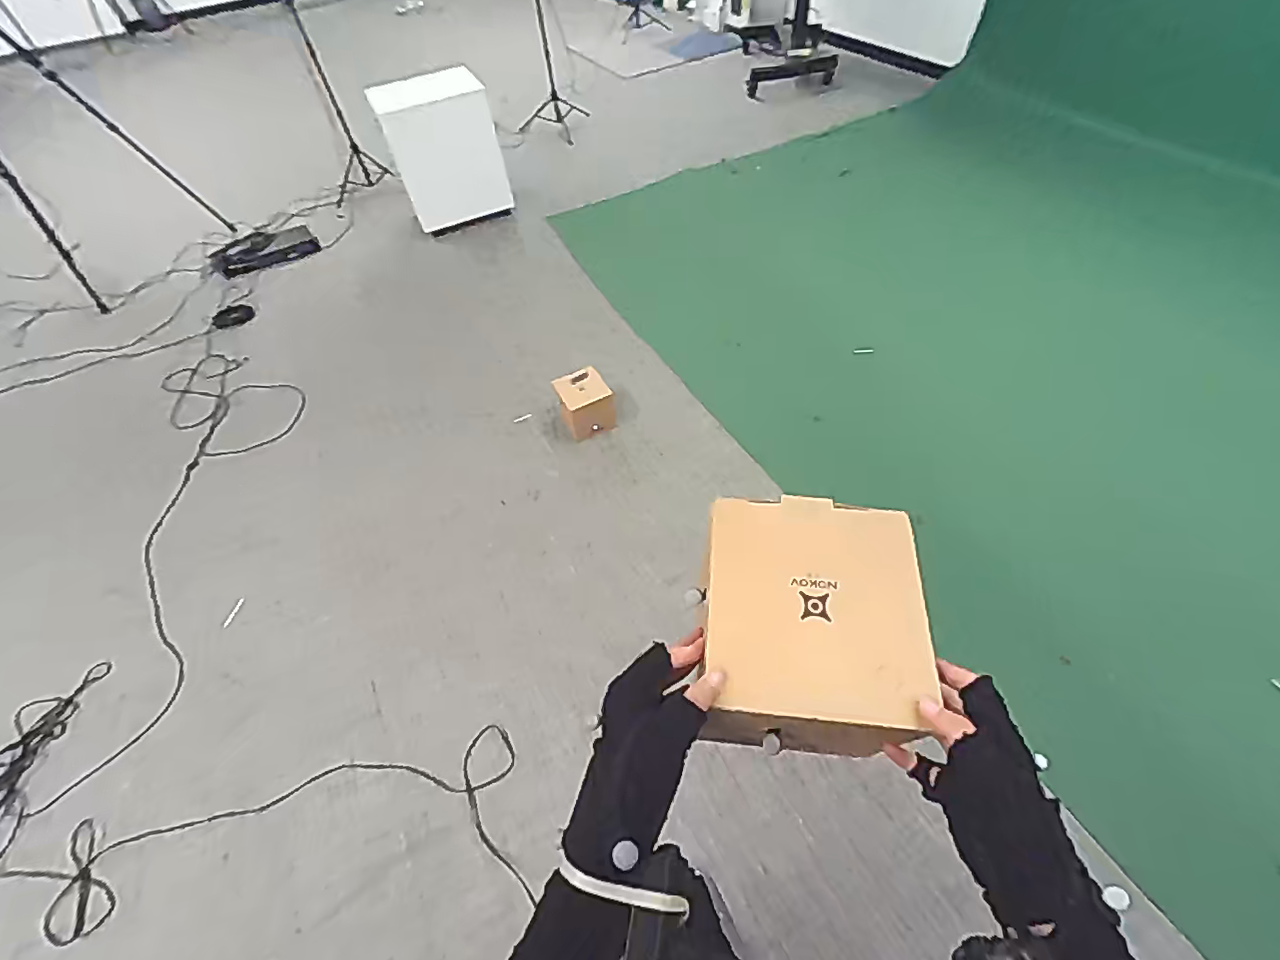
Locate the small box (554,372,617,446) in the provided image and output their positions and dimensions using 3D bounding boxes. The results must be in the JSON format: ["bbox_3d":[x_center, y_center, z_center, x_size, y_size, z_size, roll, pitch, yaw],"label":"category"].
[{"bbox_3d":[-0.195,-0.254,1.964,0.168,0.176,0.179,-25,55,-14],"label":"small box"}]
